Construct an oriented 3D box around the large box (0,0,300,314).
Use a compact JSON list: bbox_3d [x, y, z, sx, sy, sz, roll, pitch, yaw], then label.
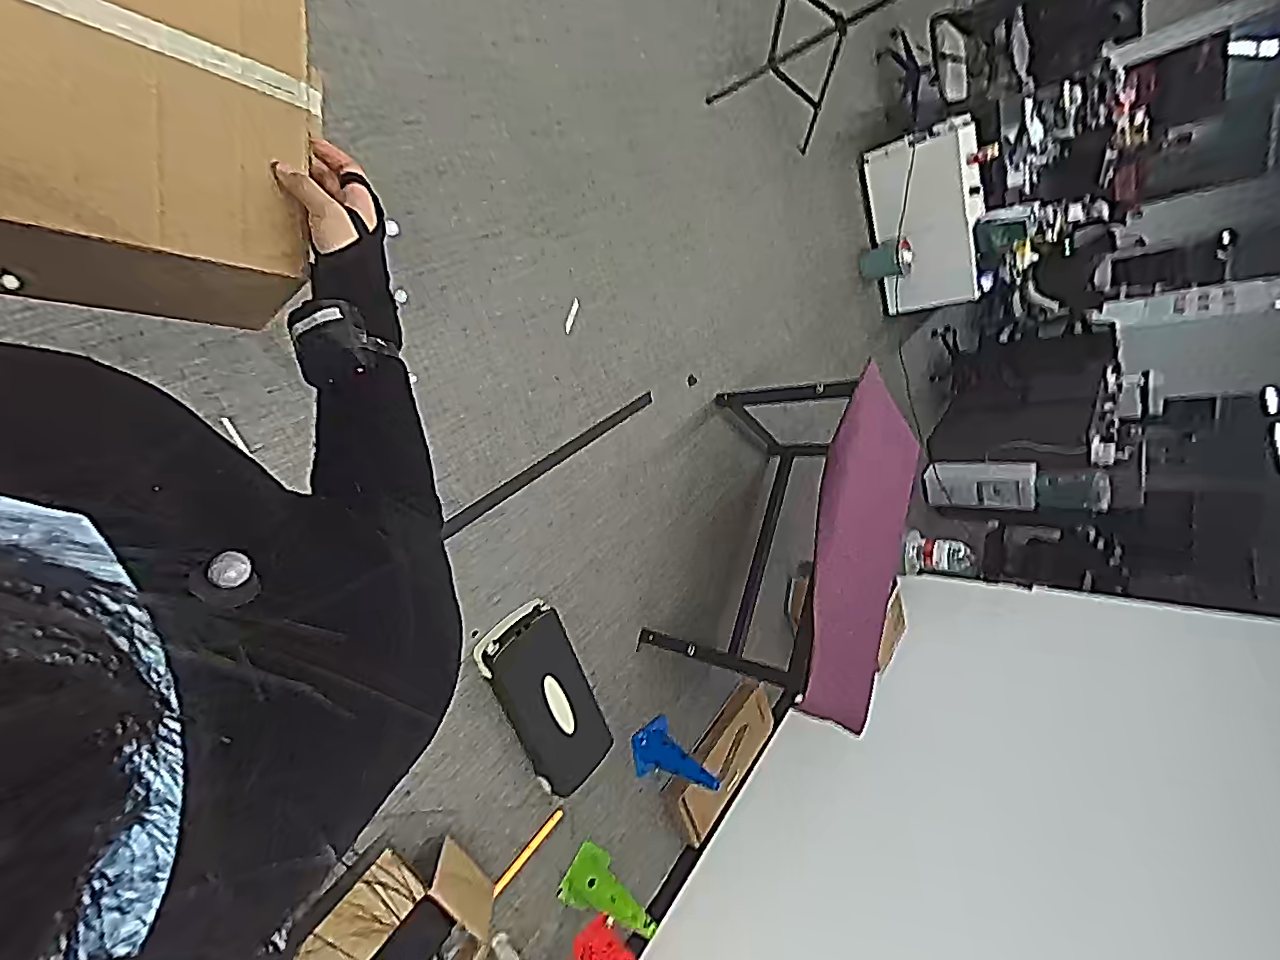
[{"bbox_3d":[-0.552,-0.346,0.461,0.408,0.320,0.320,-2,94,-41],"label":"large box"}]
